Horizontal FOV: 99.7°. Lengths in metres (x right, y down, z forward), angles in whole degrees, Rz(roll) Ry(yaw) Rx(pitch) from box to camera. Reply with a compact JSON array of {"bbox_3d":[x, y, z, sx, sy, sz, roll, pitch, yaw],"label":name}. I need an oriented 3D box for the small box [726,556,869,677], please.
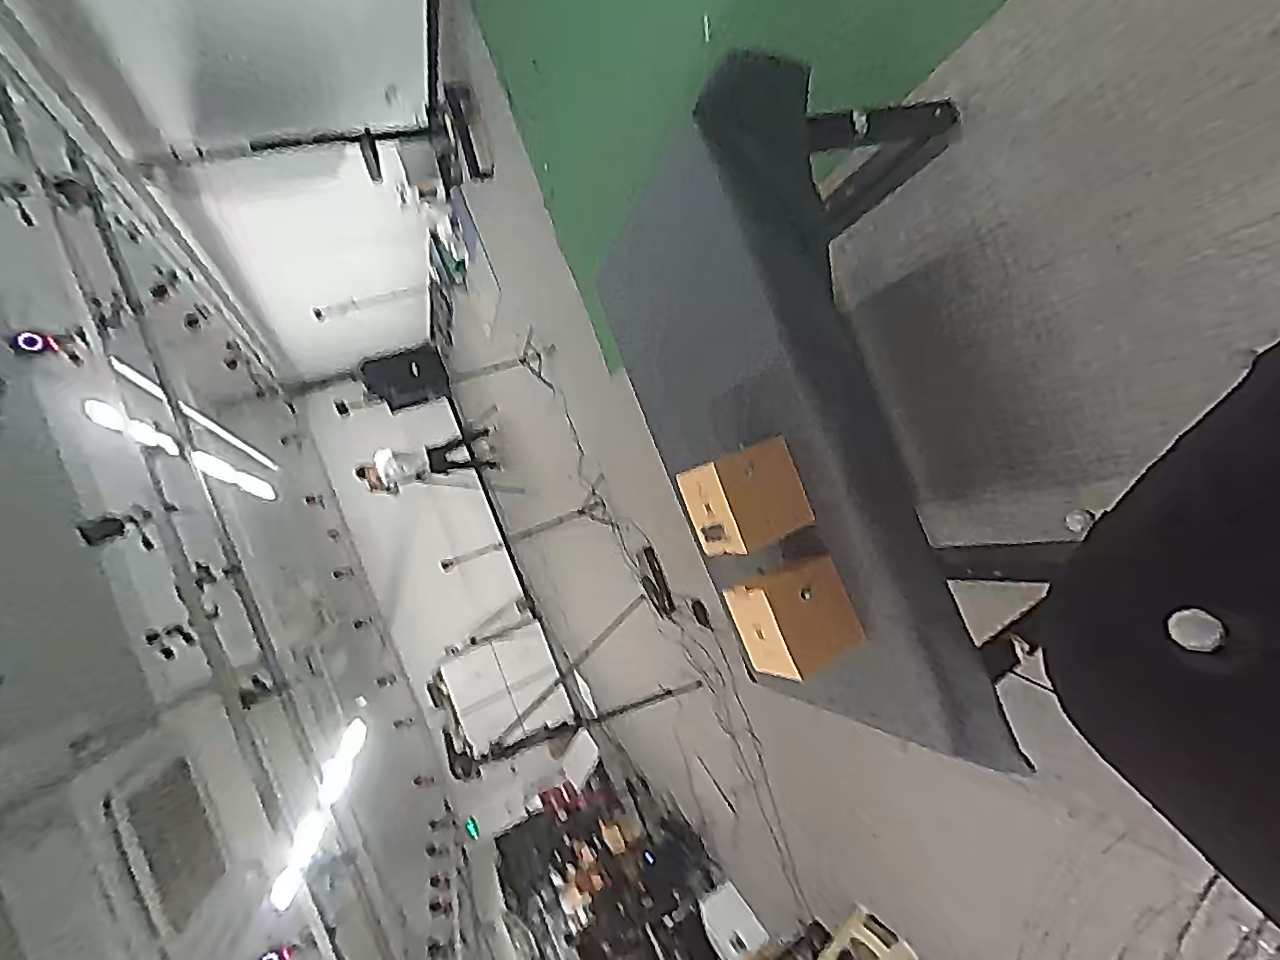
[{"bbox_3d":[0.305,0.256,1.060,0.179,0.176,0.168,66,159,4],"label":"small box"}]
